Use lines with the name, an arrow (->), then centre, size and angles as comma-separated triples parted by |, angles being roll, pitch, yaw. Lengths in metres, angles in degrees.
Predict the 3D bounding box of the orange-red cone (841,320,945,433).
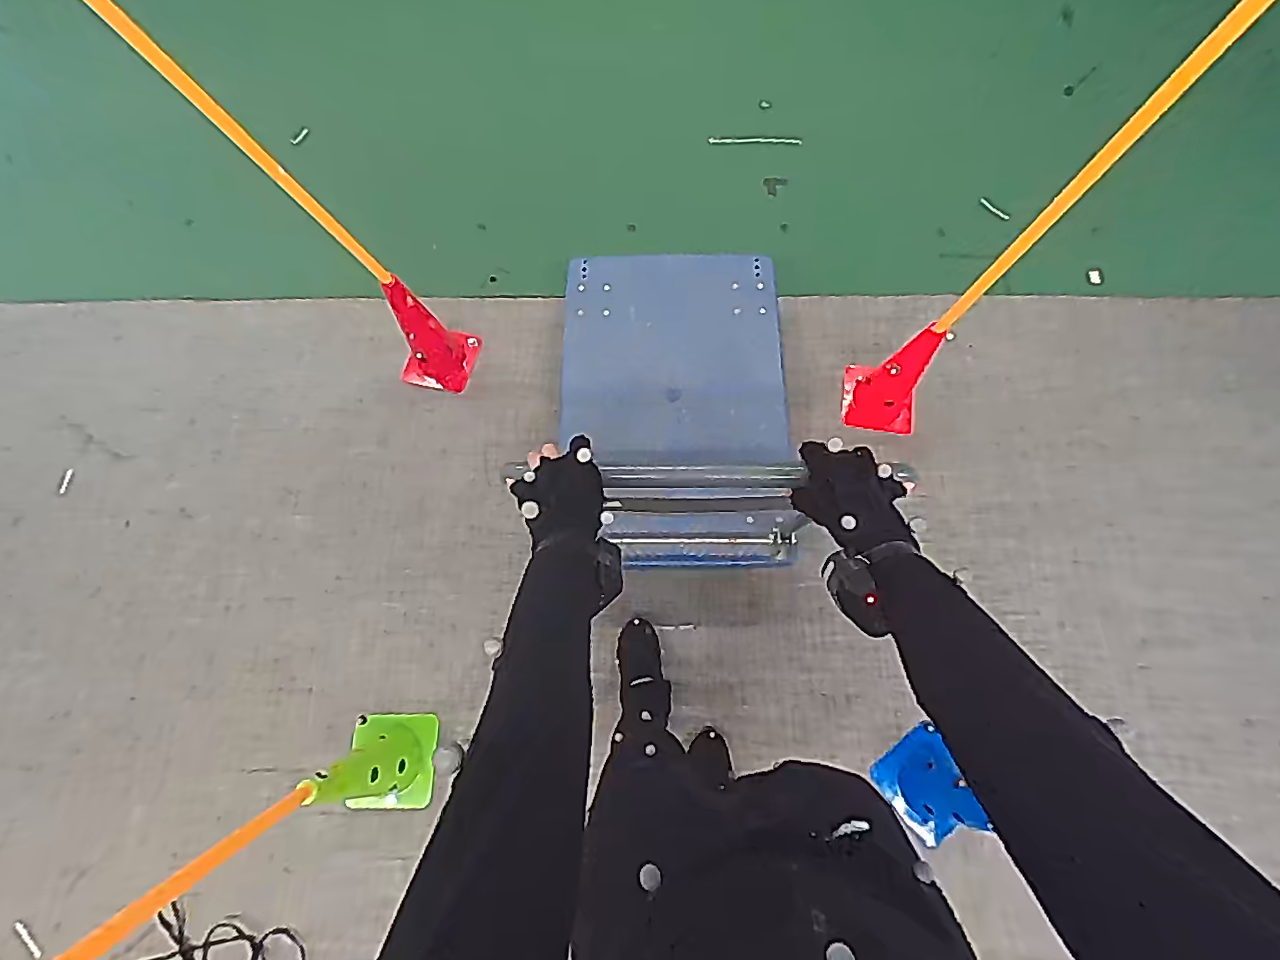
orange-red cone -> 0.682, -0.290, 1.395 | 0.198, 0.360, 0.199 | 11, 72, 5
